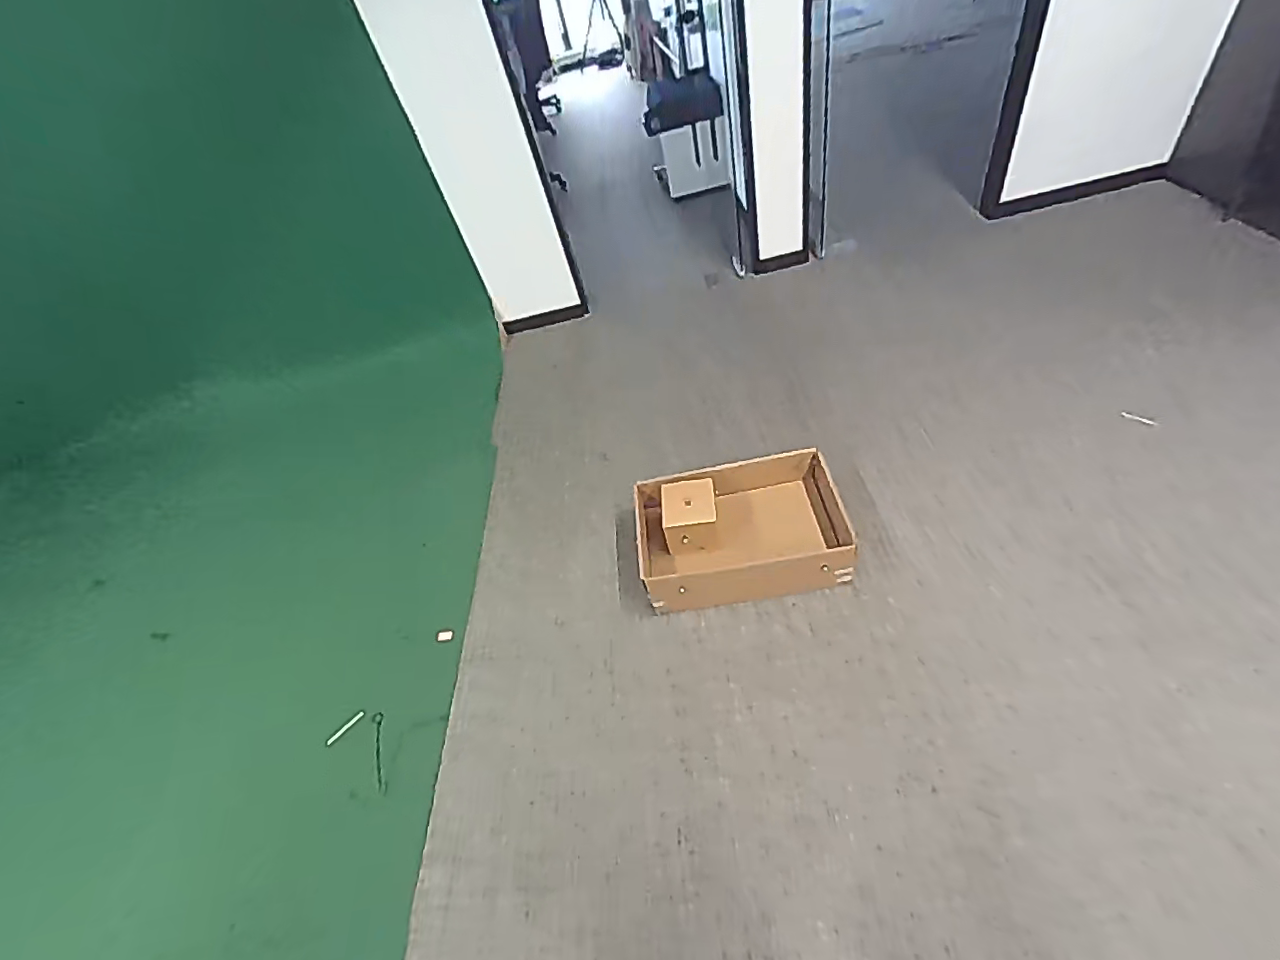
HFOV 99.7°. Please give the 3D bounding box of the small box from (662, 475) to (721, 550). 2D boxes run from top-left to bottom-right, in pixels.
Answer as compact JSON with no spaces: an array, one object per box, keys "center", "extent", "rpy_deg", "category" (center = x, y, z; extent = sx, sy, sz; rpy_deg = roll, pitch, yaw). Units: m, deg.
[{"center":[0.166,0.113,1.735],"extent":[0.168,0.176,0.179],"rpy_deg":[-8,47,9],"category":"small box"}]
